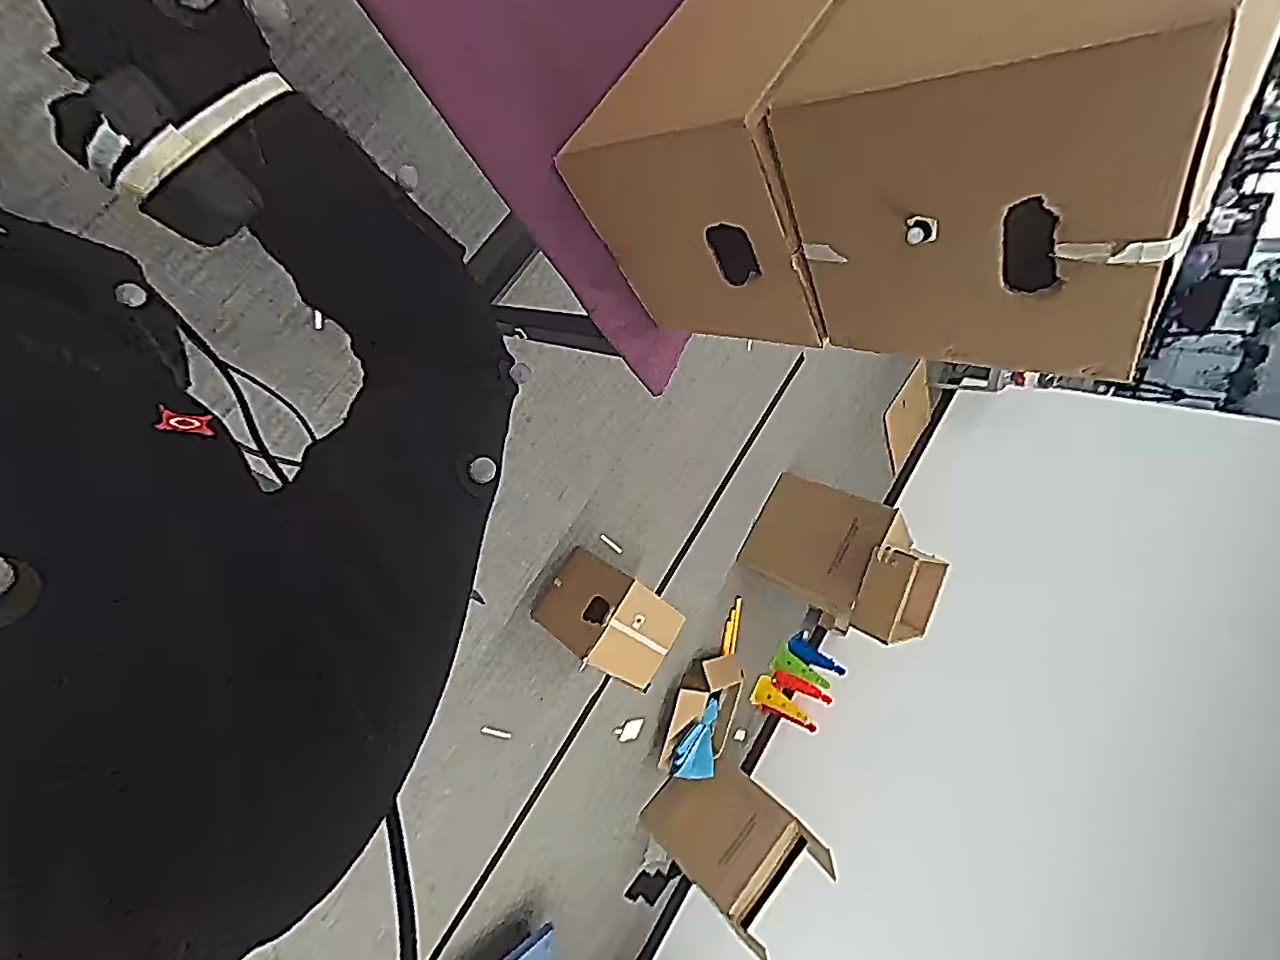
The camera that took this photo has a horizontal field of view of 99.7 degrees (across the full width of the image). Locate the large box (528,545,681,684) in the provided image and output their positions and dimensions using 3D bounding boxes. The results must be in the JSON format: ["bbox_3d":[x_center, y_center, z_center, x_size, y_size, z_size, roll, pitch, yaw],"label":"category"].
[{"bbox_3d":[-0.123,0.493,1.982,0.320,0.320,0.408,-58,137,-12],"label":"large box"}]
